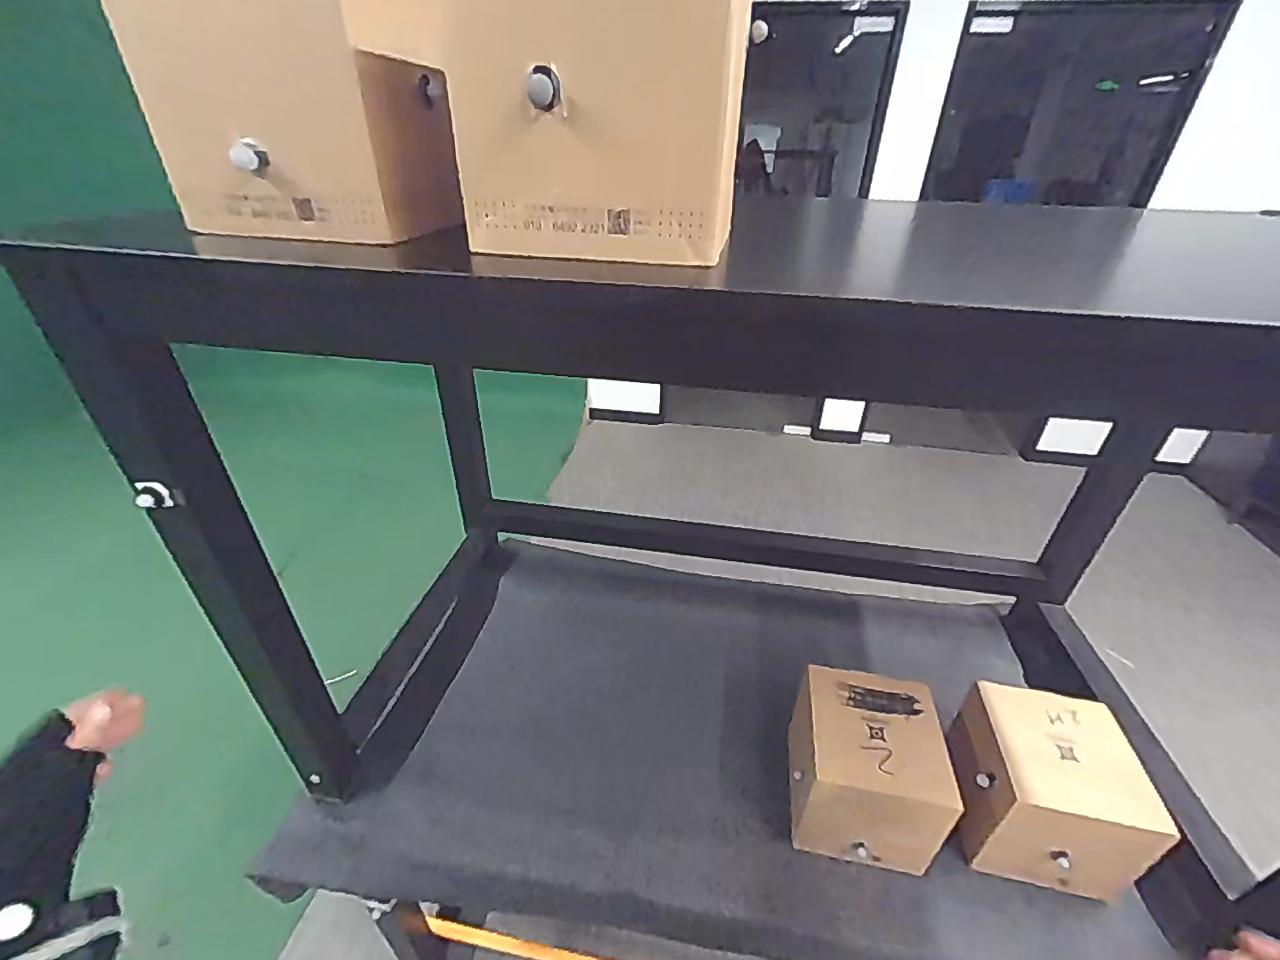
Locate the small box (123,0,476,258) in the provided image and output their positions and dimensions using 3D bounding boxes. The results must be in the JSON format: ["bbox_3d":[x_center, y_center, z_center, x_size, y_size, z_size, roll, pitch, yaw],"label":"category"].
[{"bbox_3d":[-0.239,-0.284,0.427,0.168,0.176,0.179,7,33,8],"label":"small box"}]

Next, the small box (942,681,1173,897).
[{"bbox_3d":[0.528,0.407,0.719,0.168,0.176,0.179,8,32,11],"label":"small box"}]

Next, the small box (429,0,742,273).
[{"bbox_3d":[-0.020,-0.251,0.385,0.168,0.176,0.179,7,32,9],"label":"small box"}]
